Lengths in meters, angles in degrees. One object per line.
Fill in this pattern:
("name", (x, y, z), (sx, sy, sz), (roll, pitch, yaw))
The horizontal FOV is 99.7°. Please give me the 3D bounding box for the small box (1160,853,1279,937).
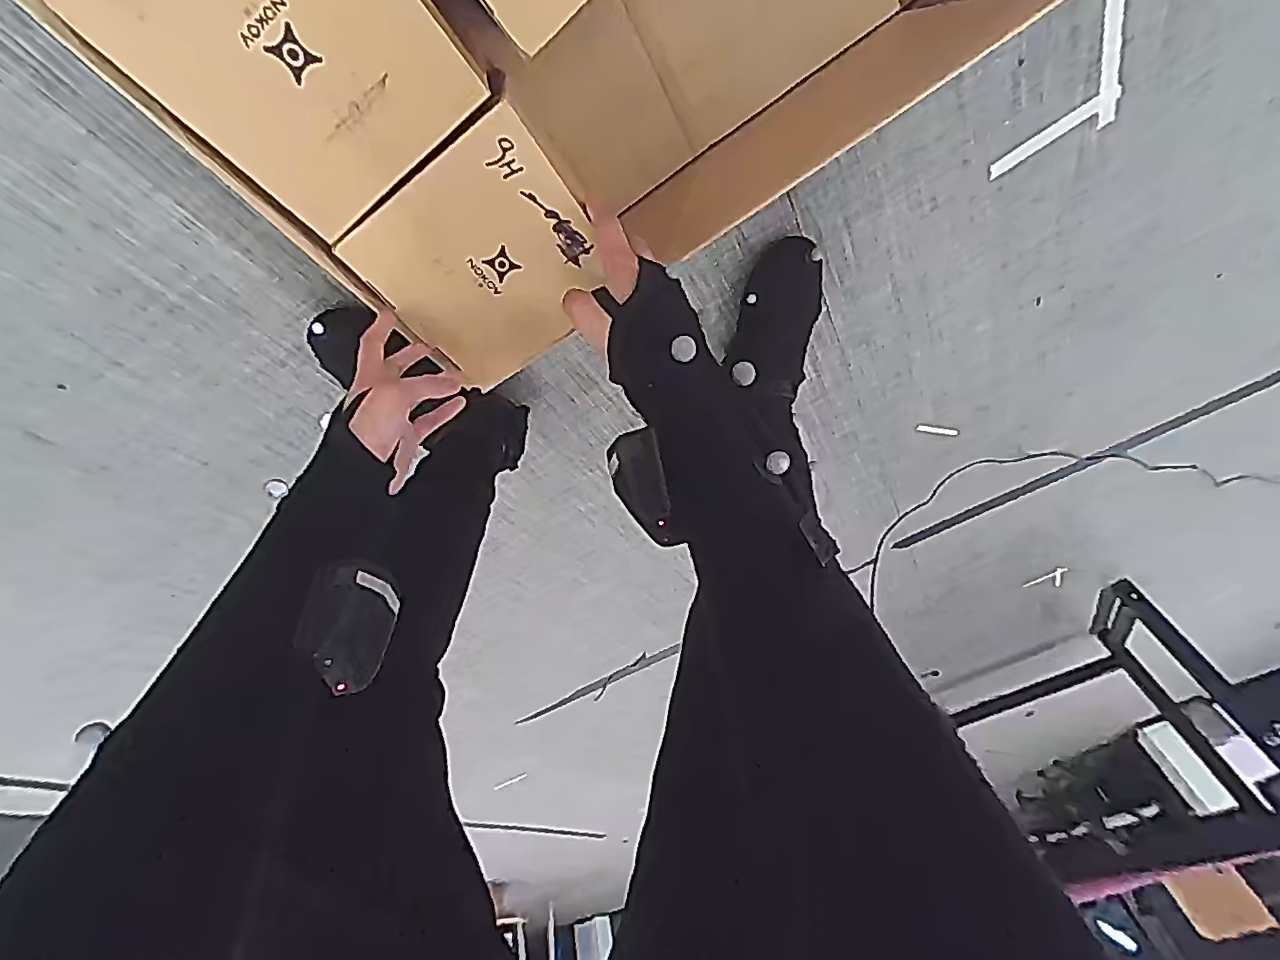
("small box", (1.741, 1.254, 1.640), (0.168, 0.176, 0.179), (-29, 136, 15))
